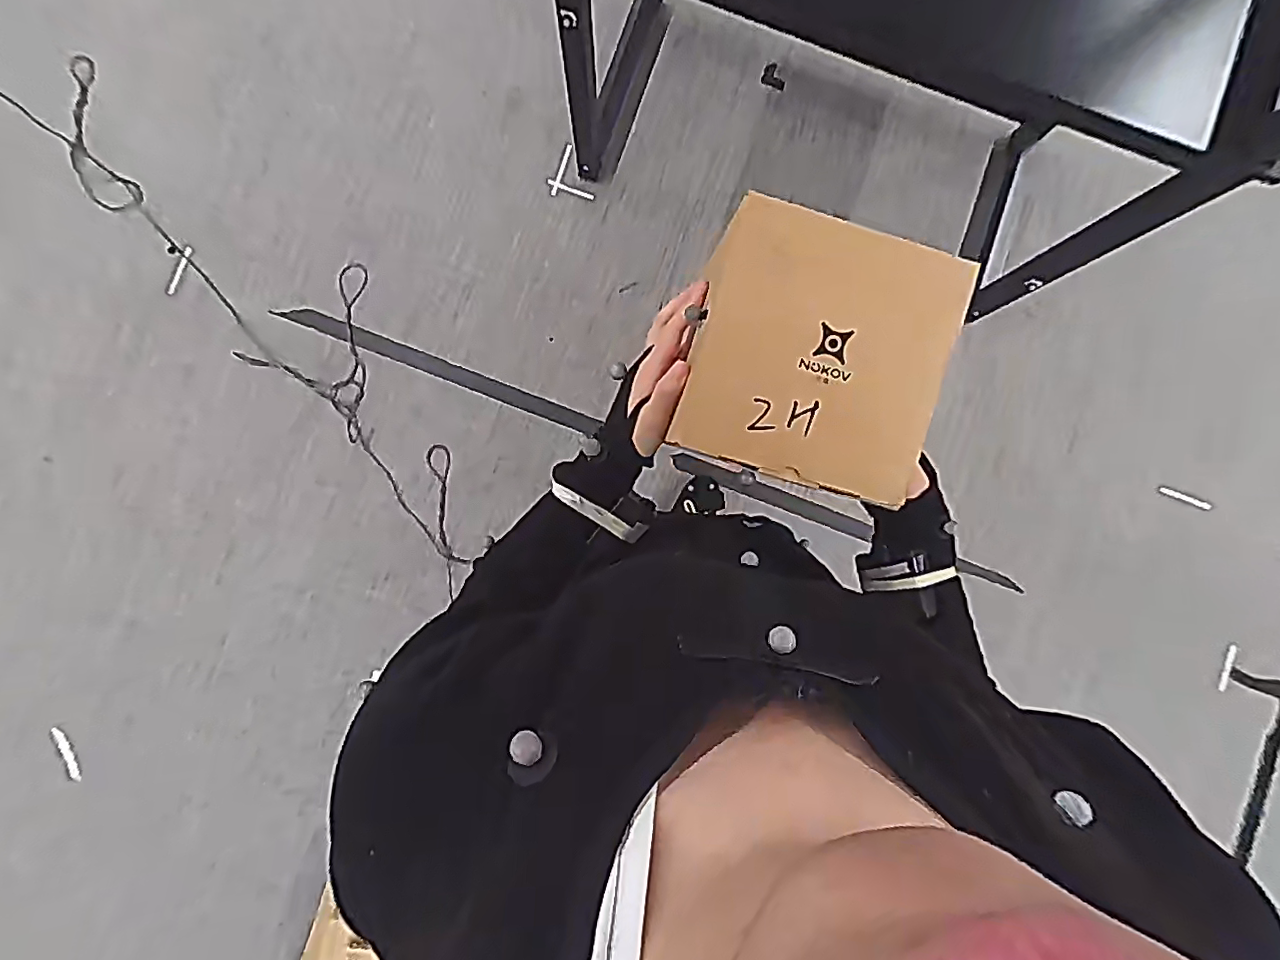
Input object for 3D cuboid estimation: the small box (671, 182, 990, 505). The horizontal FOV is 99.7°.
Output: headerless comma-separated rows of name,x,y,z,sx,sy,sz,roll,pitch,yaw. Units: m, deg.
small box,0.127,-0.094,0.436,0.168,0.176,0.179,16,95,-3
